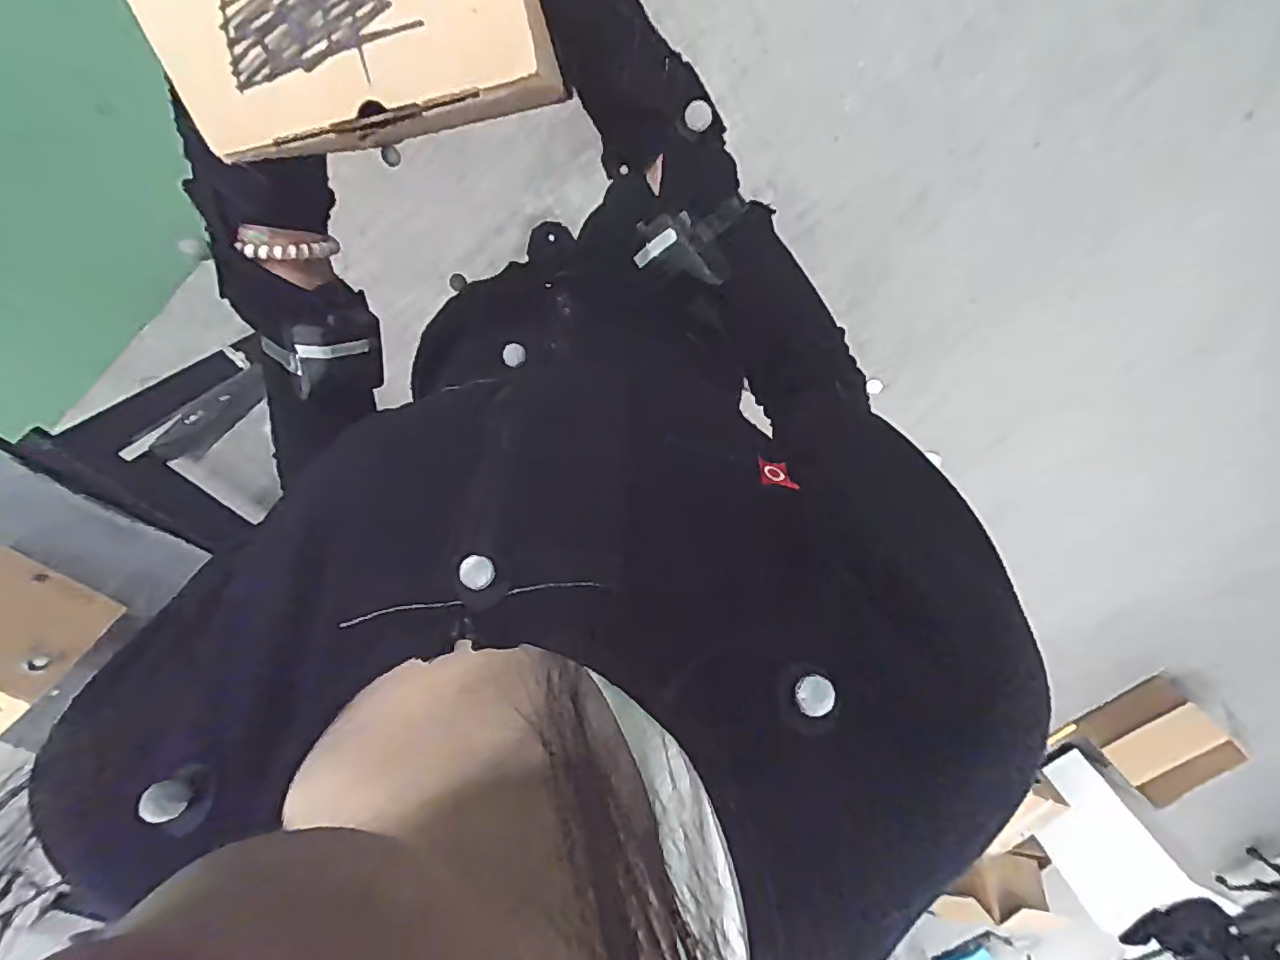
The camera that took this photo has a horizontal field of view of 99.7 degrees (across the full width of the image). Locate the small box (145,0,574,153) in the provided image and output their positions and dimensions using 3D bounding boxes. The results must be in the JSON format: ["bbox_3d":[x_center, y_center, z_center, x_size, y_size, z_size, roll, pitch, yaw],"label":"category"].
[{"bbox_3d":[-0.136,-0.286,0.274,0.168,0.176,0.179,-10,122,5],"label":"small box"}]
